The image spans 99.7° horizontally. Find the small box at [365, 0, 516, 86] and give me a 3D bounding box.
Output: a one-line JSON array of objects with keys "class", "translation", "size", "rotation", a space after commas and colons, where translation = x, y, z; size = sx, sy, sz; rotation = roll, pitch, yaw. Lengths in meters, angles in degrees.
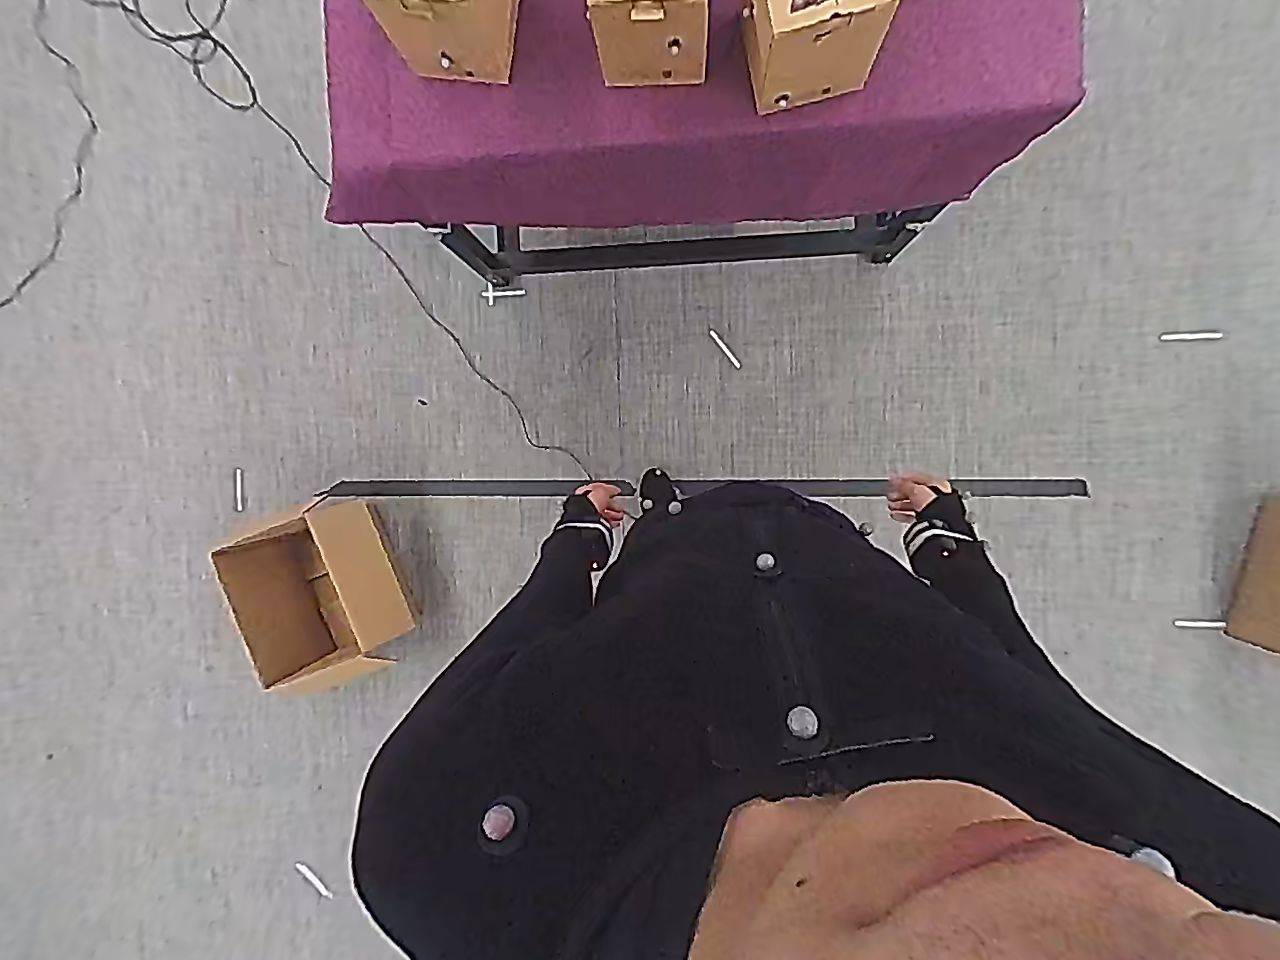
[{"class": "small box", "translation": [-0.299, -0.754, 0.827], "size": [0.168, 0.176, 0.179], "rotation": [9, 93, 5]}]

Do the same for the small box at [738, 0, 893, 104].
[{"class": "small box", "translation": [0.241, -0.684, 0.778], "size": [0.168, 0.176, 0.179], "rotation": [-11, 90, 6]}]

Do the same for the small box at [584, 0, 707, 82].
[{"class": "small box", "translation": [0.016, -0.728, 0.800], "size": [0.168, 0.176, 0.179], "rotation": [2, 92, 5]}]
